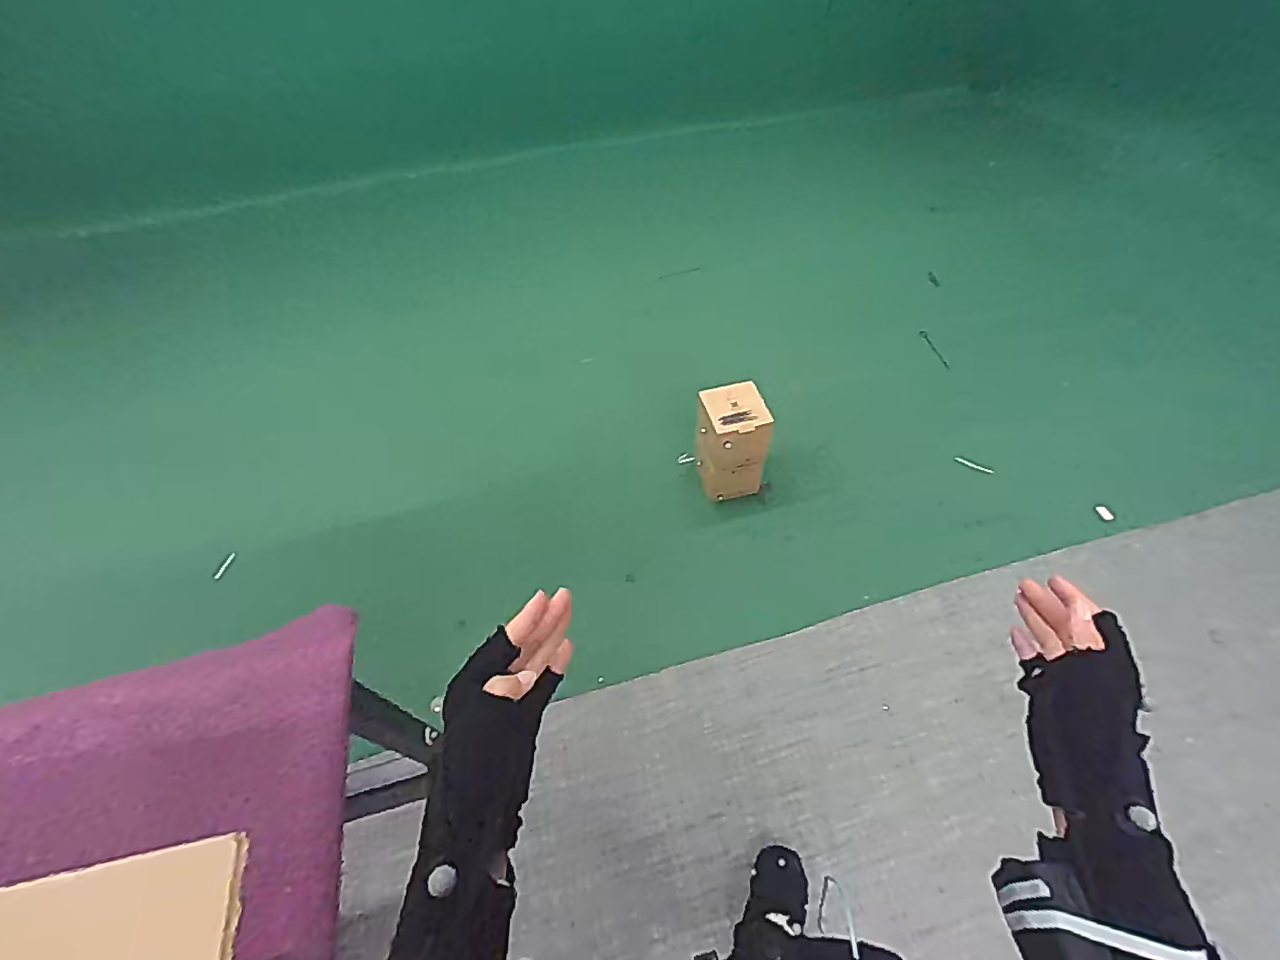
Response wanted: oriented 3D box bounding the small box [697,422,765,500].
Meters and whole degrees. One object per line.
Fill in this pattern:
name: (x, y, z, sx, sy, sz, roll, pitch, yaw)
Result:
small box: (0.284, -0.054, 1.722, 0.168, 0.176, 0.179, -12, 53, -6)
